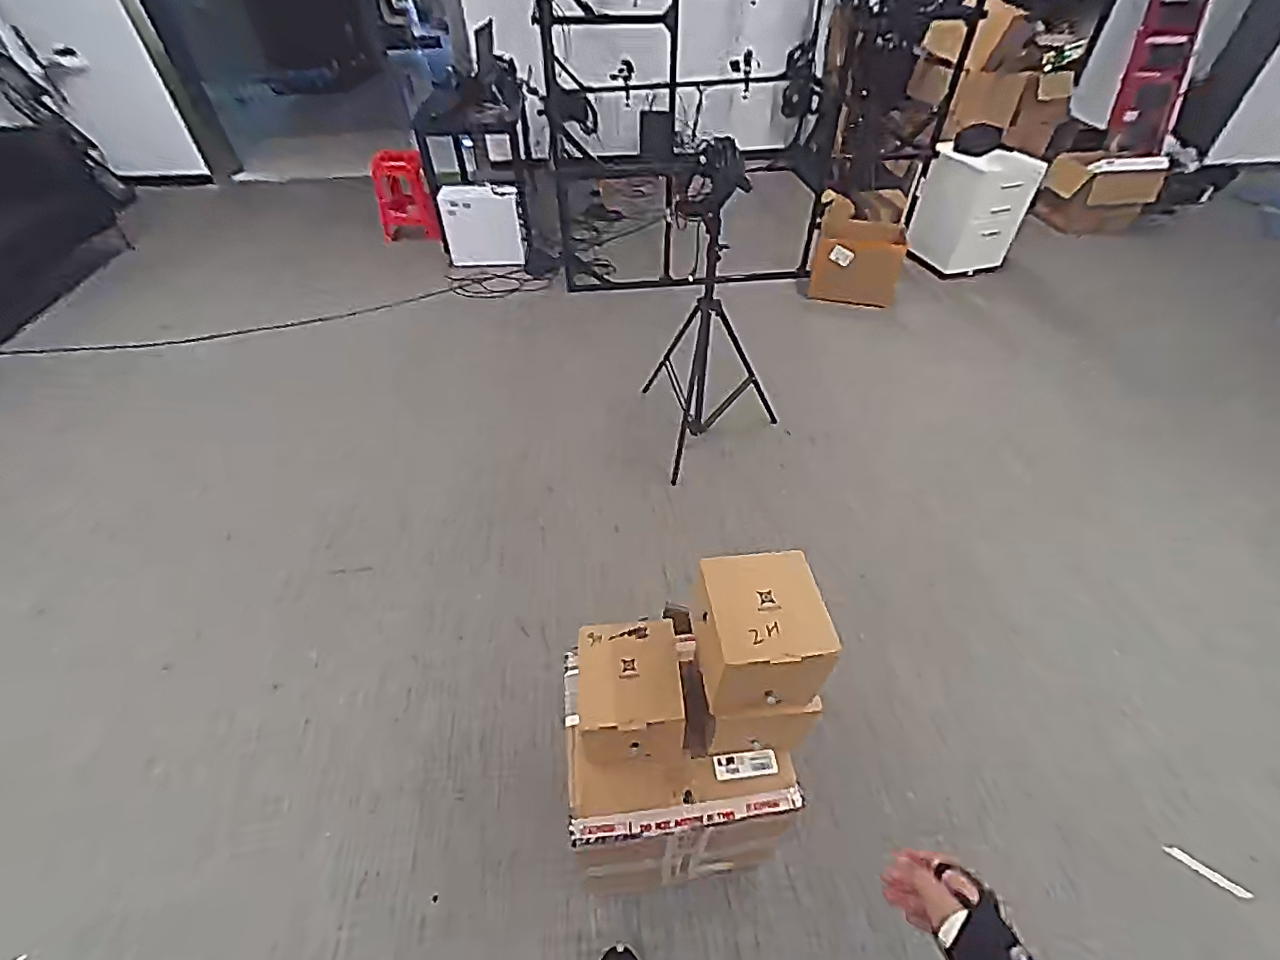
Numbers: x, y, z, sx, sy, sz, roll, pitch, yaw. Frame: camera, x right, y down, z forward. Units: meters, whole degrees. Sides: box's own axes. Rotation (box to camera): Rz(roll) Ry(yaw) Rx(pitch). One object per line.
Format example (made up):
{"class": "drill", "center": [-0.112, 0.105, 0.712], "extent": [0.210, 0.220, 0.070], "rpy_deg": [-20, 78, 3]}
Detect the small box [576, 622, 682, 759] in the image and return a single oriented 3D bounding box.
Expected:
{"class": "small box", "center": [-0.018, 0.368, 0.933], "extent": [0.168, 0.176, 0.179], "rpy_deg": [-4, 48, -2]}

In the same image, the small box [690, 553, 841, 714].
{"class": "small box", "center": [0.178, 0.235, 0.833], "extent": [0.168, 0.176, 0.179], "rpy_deg": [-4, 47, -6]}

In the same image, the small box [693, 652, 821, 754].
{"class": "small box", "center": [0.191, 0.357, 0.946], "extent": [0.168, 0.176, 0.179], "rpy_deg": [-3, 47, -5]}
